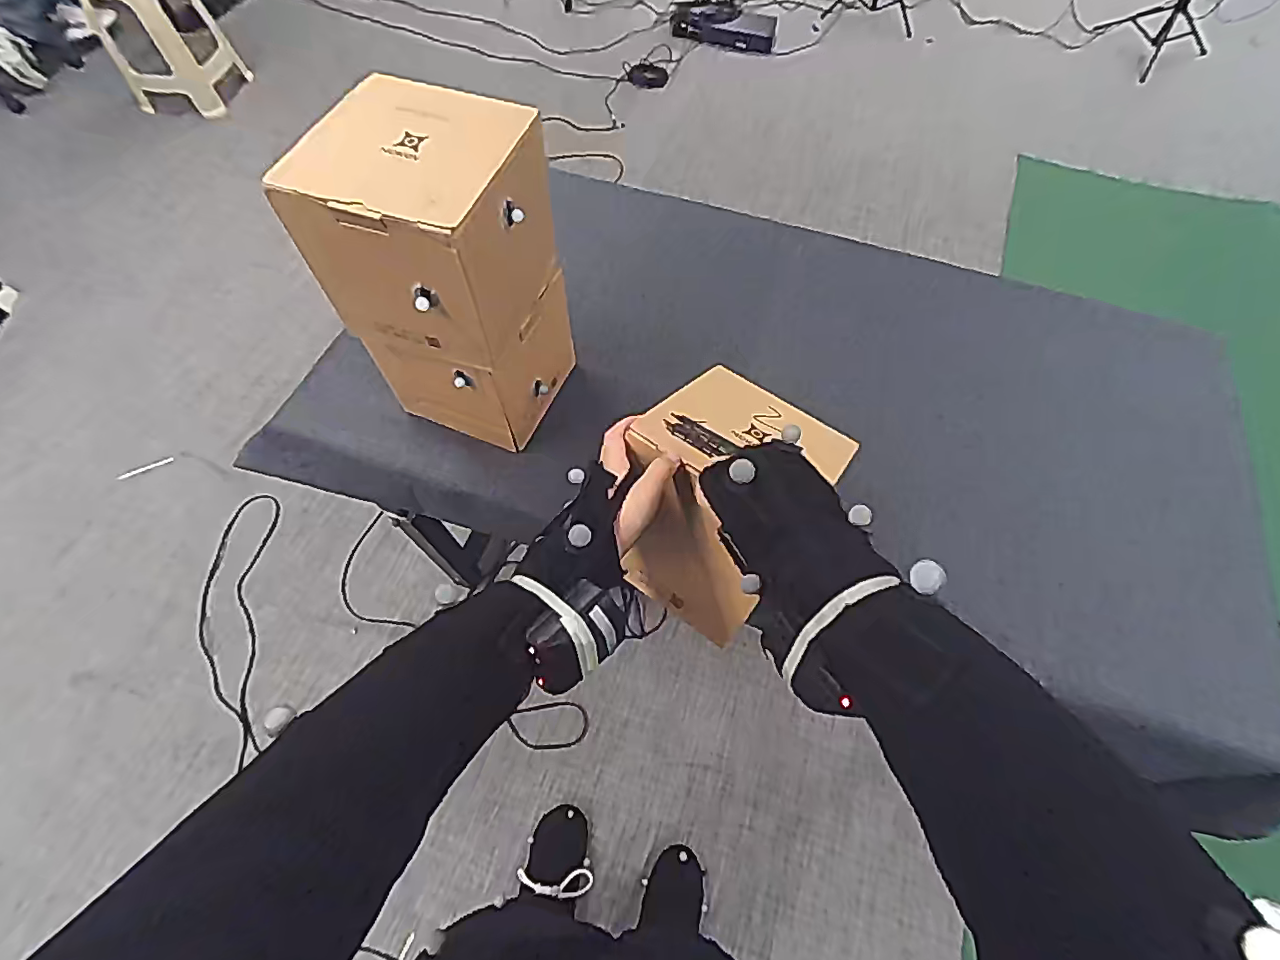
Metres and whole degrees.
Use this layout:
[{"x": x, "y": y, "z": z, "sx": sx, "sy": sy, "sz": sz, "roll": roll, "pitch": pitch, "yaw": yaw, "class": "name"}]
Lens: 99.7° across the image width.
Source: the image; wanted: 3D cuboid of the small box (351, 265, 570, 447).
[{"x": -0.201, "y": -0.165, "z": 0.665, "sx": 0.179, "sy": 0.176, "sz": 0.168, "roll": 21, "pitch": 63, "yaw": 9, "class": "small box"}]

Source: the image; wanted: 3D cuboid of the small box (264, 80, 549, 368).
[{"x": -0.195, "y": -0.236, "z": 0.519, "sx": 0.168, "sy": 0.176, "sz": 0.179, "roll": 16, "pitch": 61, "yaw": 5, "class": "small box"}]
